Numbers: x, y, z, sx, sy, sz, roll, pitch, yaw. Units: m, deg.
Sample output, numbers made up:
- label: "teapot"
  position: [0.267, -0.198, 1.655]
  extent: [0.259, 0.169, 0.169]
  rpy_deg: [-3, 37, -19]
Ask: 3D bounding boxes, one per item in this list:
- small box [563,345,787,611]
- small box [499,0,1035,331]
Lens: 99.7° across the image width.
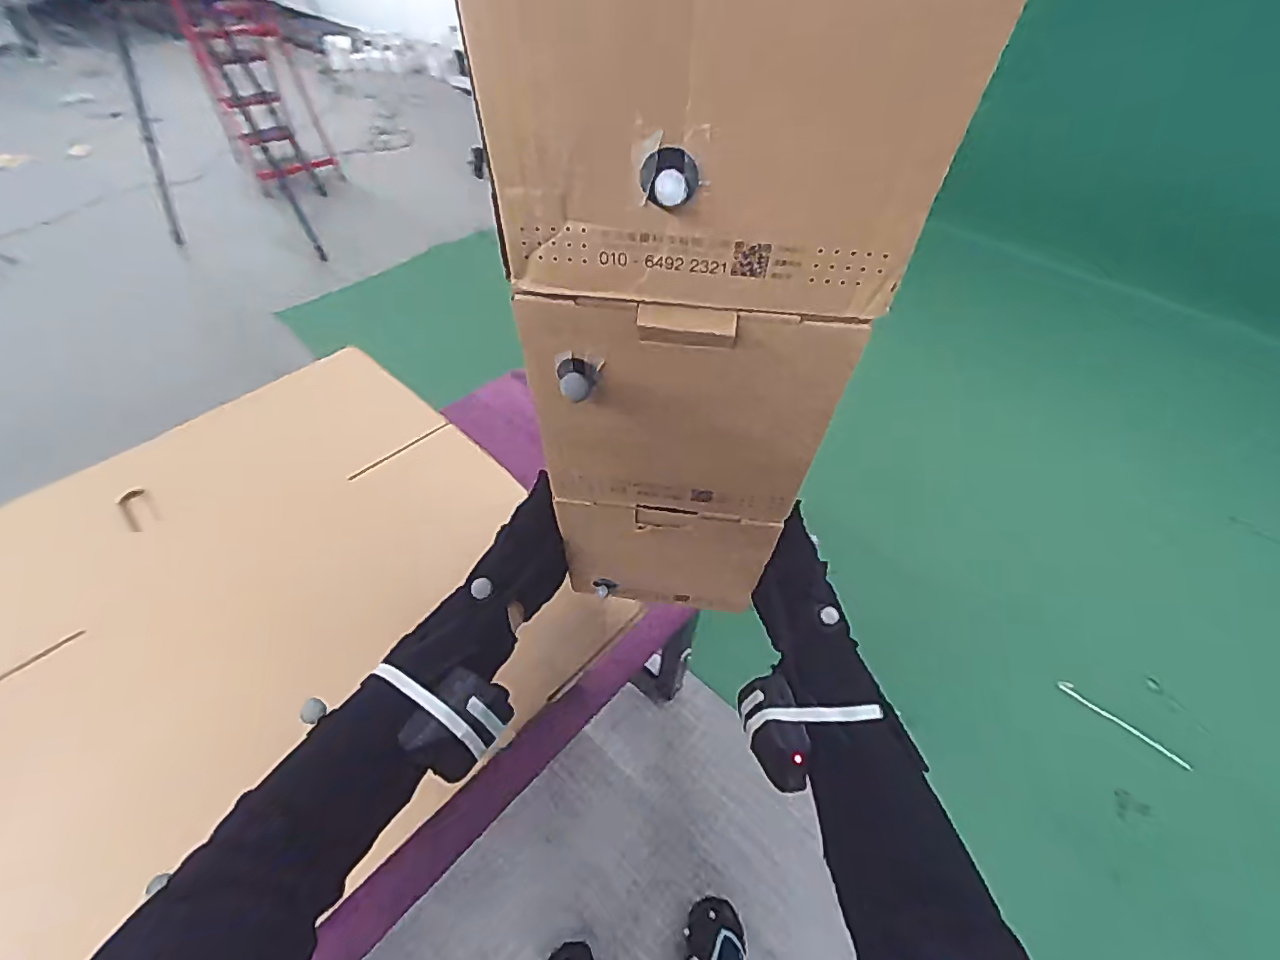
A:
- label: "small box"
  position: [0.035, 0.003, 0.497]
  extent: [0.168, 0.176, 0.179]
  rpy_deg: [7, 54, 4]
- label: "small box"
  position: [0.040, -0.192, 0.234]
  extent: [0.168, 0.176, 0.179]
  rpy_deg: [5, 54, 3]
